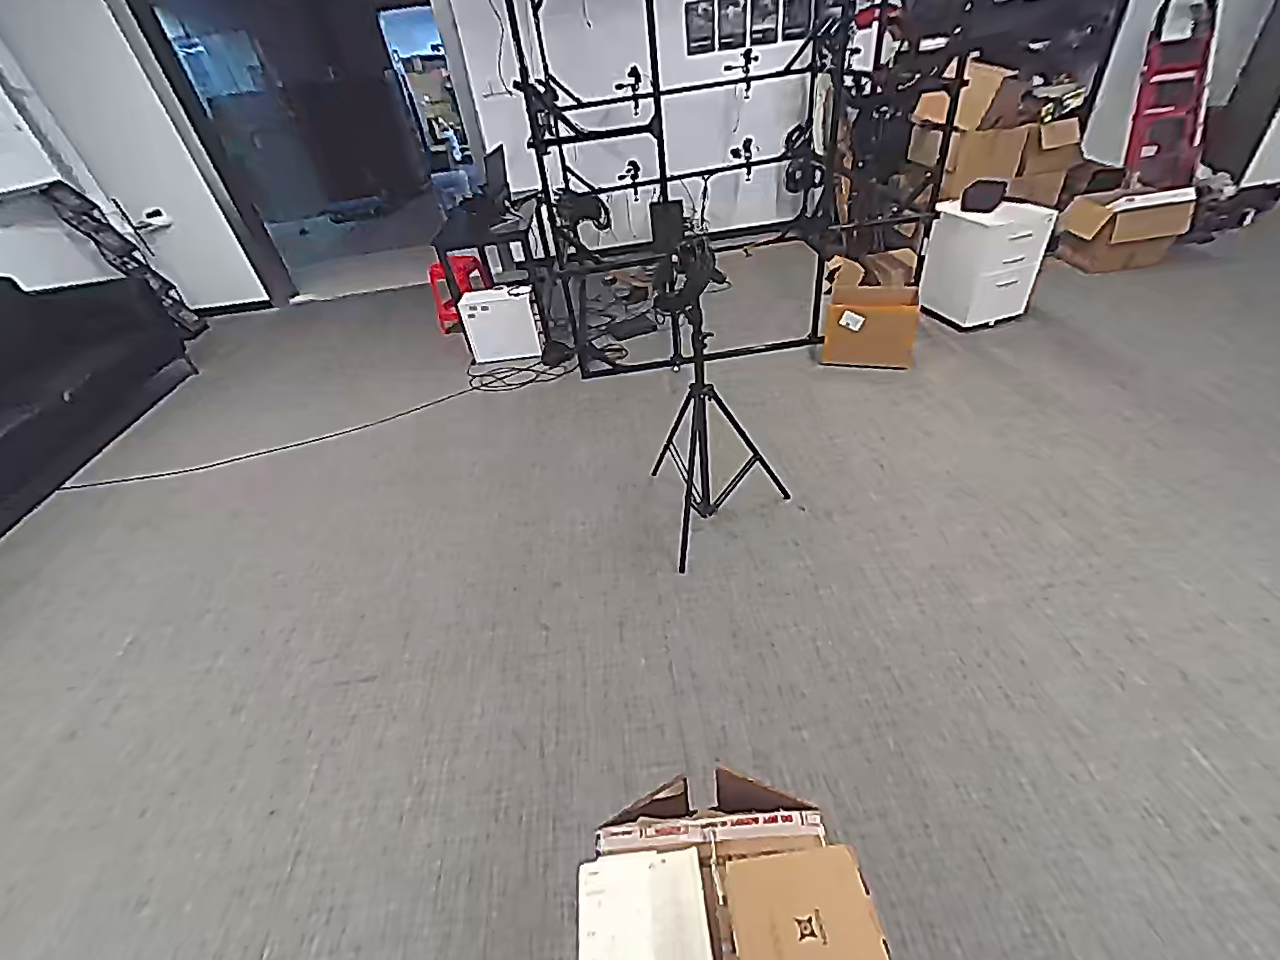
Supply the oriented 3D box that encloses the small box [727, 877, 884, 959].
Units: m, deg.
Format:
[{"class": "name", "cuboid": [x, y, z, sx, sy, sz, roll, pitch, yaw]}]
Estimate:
[{"class": "small box", "cuboid": [0.218, 0.653, 0.710, 0.179, 0.176, 0.168, -8, 40, -2]}]
